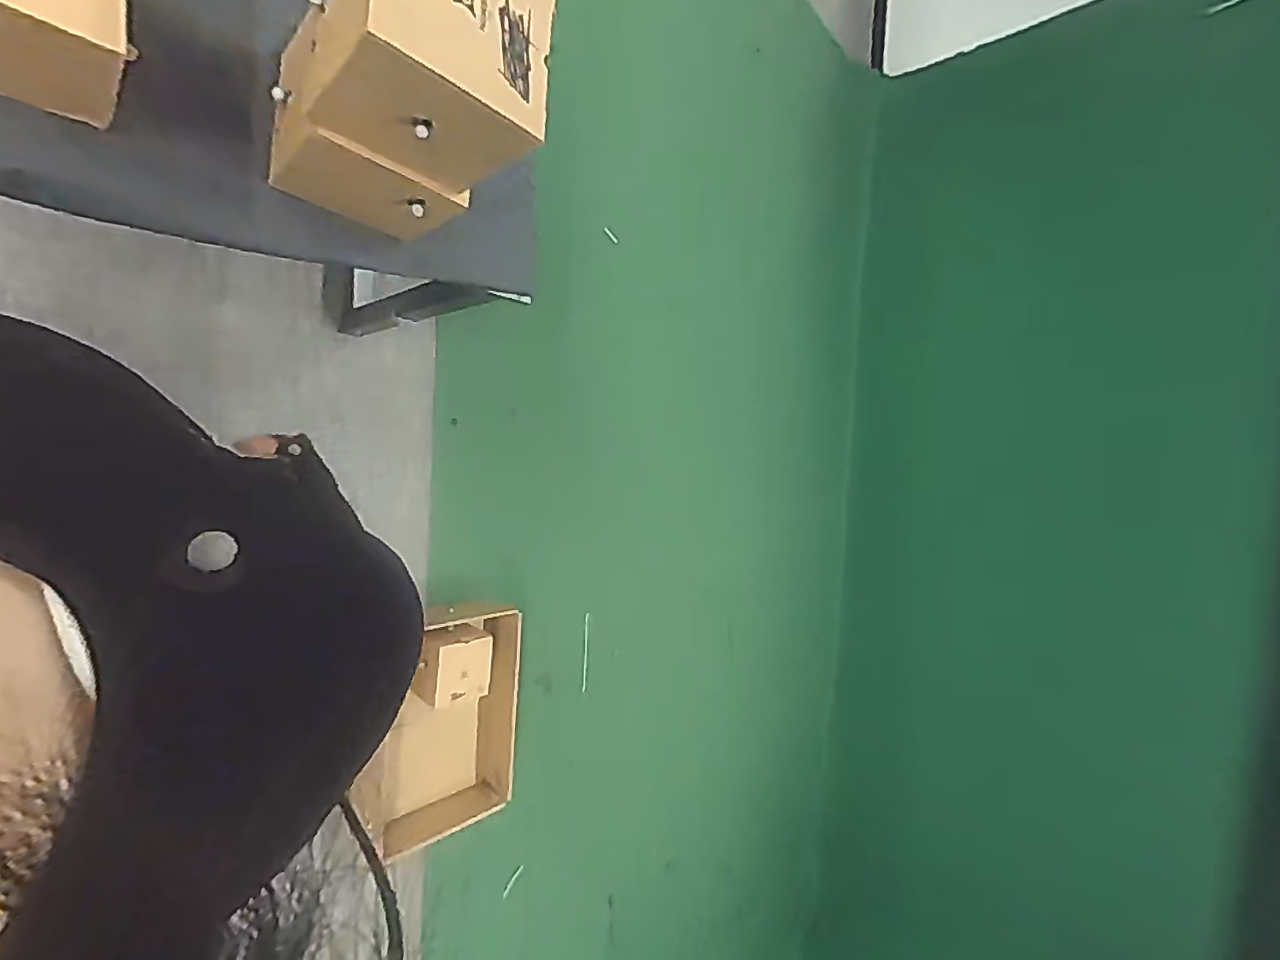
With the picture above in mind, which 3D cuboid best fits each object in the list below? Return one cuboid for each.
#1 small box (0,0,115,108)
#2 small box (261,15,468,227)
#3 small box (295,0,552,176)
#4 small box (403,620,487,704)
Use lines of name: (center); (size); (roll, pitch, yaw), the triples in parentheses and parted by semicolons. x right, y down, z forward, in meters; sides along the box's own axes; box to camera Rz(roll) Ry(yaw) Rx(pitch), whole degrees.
small box: (-0.536, -0.434, 0.418); (0.179, 0.176, 0.168); (-2, 96, -49)
small box: (-0.324, -0.429, 0.651); (0.179, 0.176, 0.168); (6, 88, -49)
small box: (-0.210, -0.431, 0.532); (0.179, 0.176, 0.168); (5, 90, -47)
small box: (-0.557, 0.506, 1.540); (0.168, 0.176, 0.179); (3, 92, -48)
